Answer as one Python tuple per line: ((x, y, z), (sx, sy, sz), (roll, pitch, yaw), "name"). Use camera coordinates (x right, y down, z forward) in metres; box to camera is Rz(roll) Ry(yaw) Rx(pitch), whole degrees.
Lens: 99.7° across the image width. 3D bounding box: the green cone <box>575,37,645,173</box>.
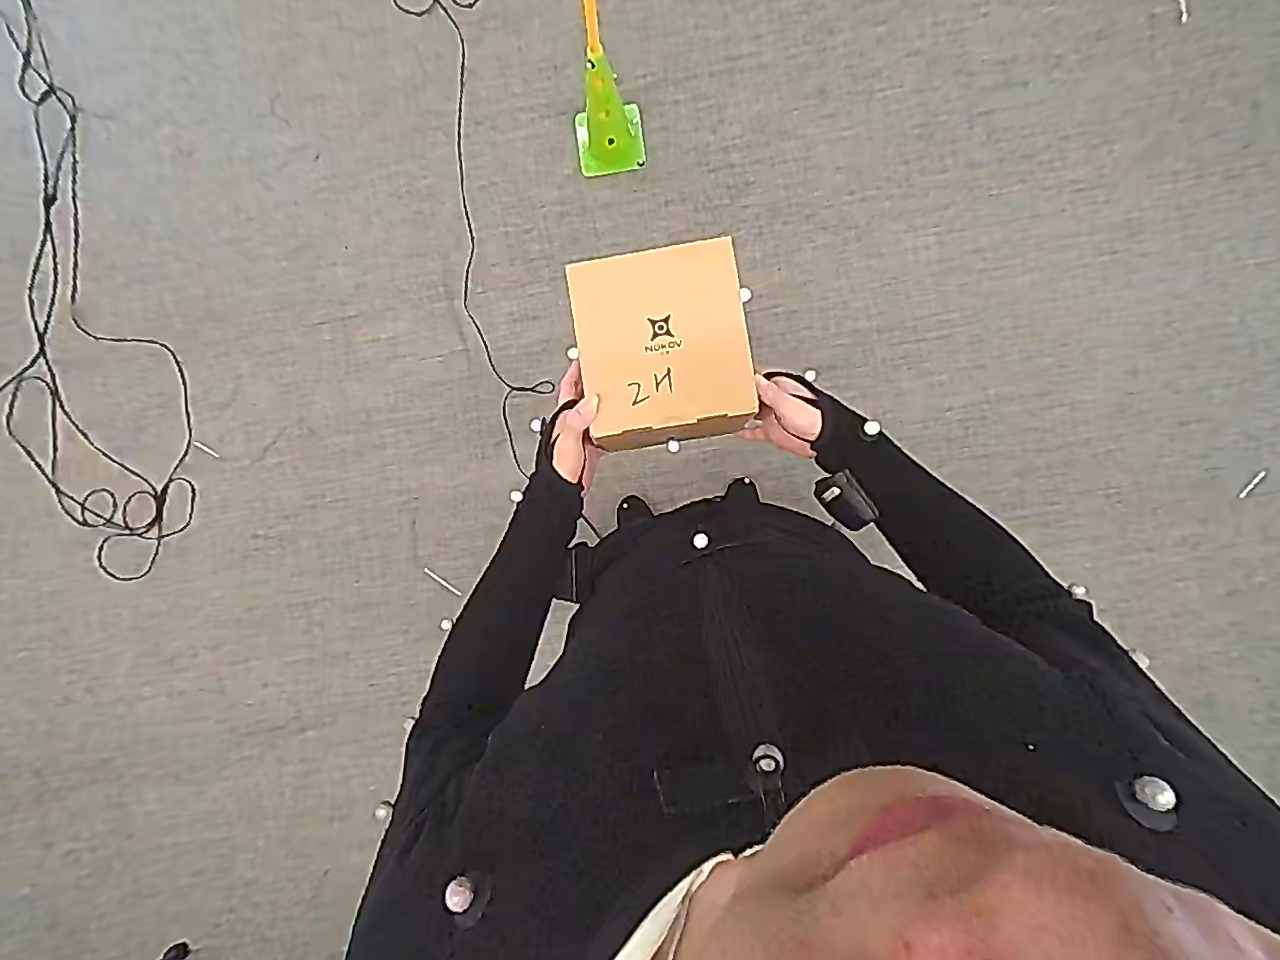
((-0.104, -1.057, 1.486), (0.202, 0.368, 0.200), (-8, 89, 4), "green cone")
